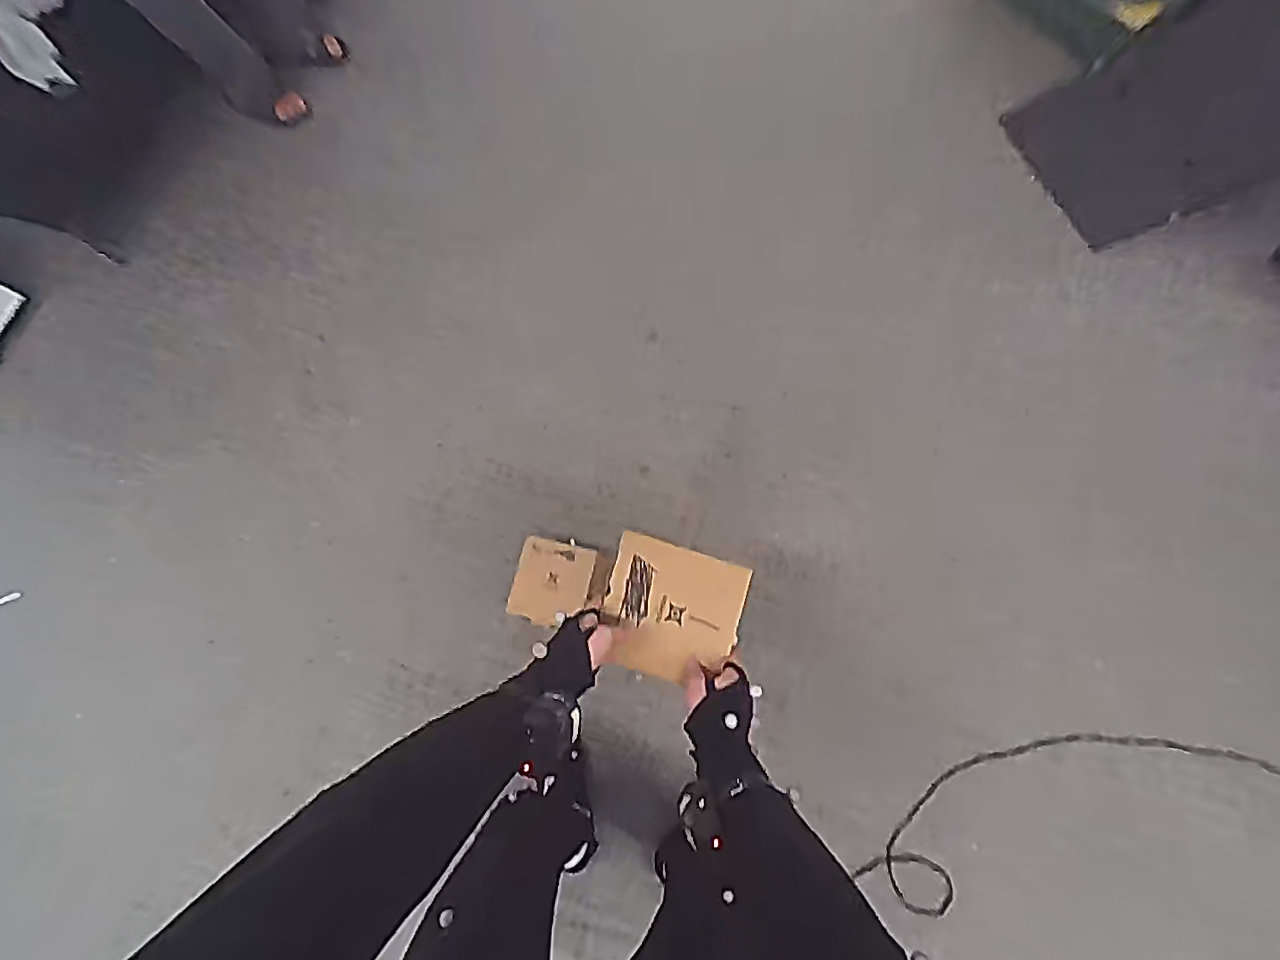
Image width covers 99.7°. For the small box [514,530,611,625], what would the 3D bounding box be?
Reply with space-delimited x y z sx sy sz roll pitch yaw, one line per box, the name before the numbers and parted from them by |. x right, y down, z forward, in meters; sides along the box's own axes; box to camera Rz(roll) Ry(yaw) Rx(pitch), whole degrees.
small box | -0.167 0.232 1.245 0.179 0.176 0.168 -18 72 2

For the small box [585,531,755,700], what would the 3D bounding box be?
small box | 0.046 0.190 0.767 0.179 0.176 0.168 20 78 11
